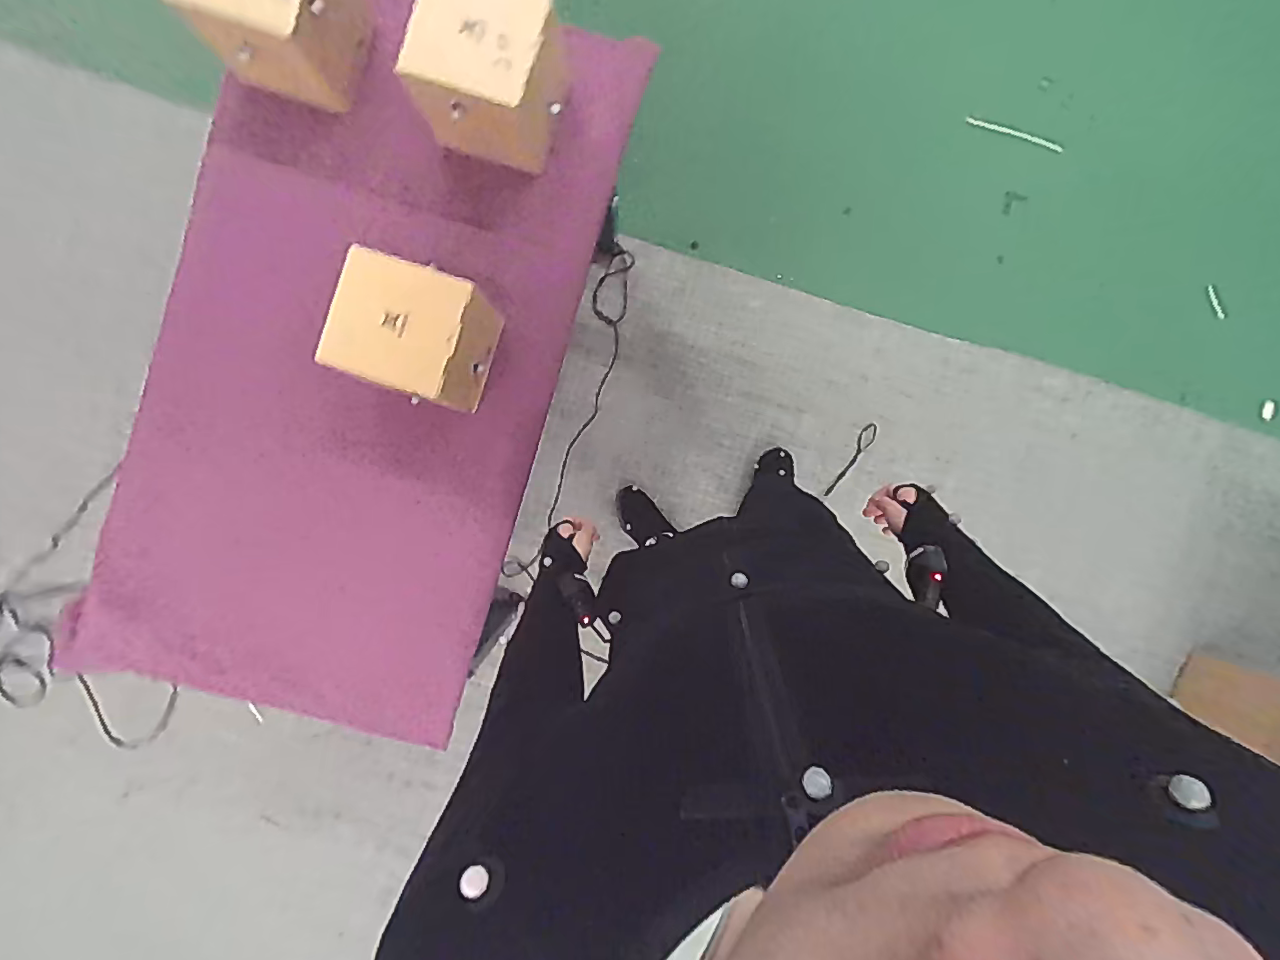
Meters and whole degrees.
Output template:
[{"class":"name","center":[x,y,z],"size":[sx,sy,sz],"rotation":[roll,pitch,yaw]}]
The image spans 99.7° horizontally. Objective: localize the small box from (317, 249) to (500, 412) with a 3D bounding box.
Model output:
[{"class":"small box","center":[-0.332,-0.209,0.809],"size":[0.179,0.176,0.168],"rotation":[17,89,-1]}]

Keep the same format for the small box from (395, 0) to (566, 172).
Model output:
[{"class":"small box","center":[-0.224,-0.599,0.808],"size":[0.179,0.176,0.168],"rotation":[18,91,0]}]

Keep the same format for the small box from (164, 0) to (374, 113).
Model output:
[{"class":"small box","center":[-0.533,-0.690,0.799],"size":[0.179,0.176,0.168],"rotation":[16,92,-3]}]
